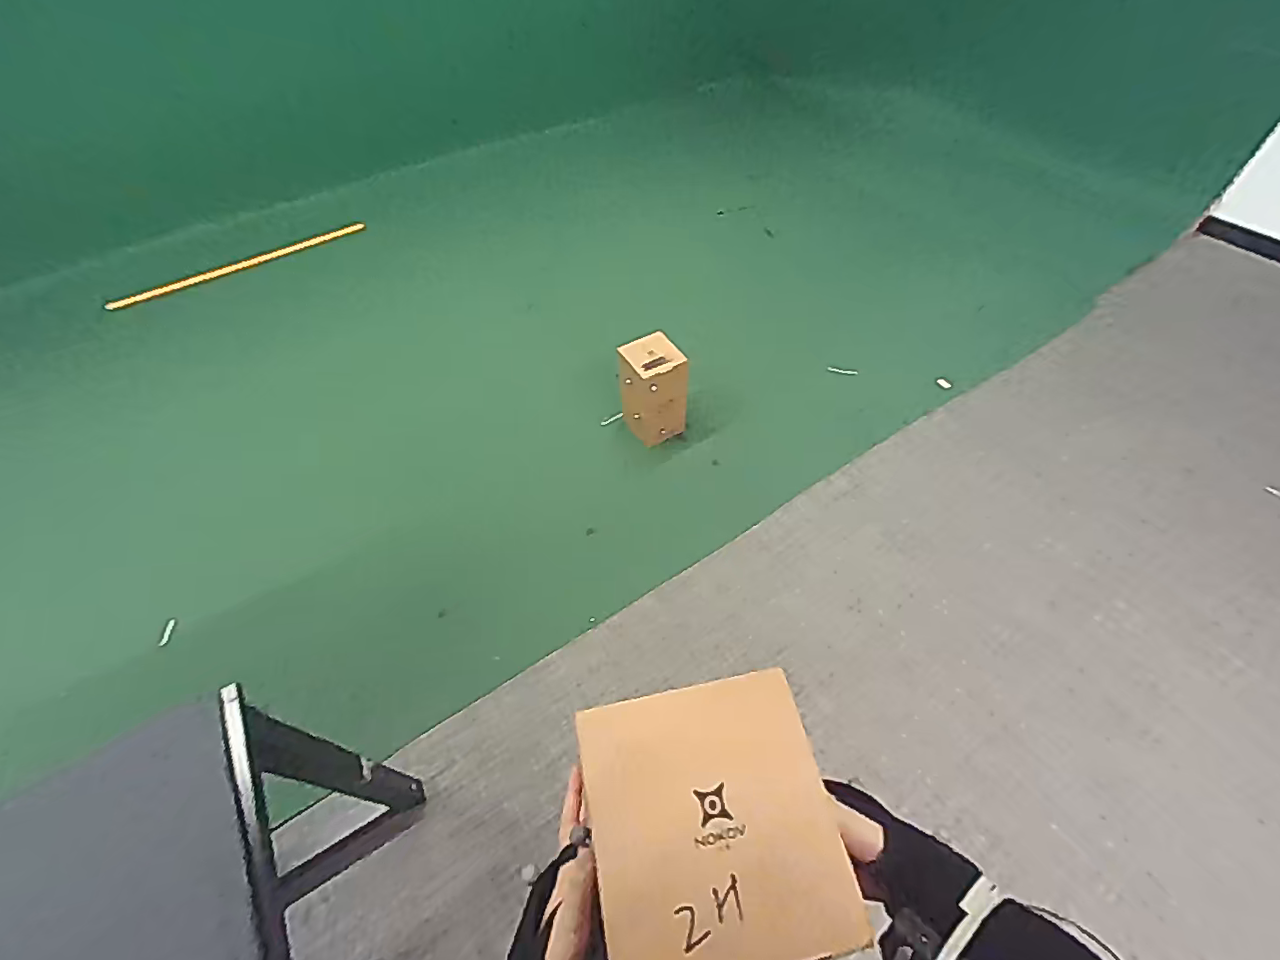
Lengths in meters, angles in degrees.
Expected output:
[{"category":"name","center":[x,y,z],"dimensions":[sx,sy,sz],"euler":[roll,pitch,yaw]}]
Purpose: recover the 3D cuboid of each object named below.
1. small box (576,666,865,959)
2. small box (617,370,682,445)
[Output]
[{"category":"small box","center":[0.040,0.272,0.437],"dimensions":[0.168,0.176,0.179],"euler":[-8,59,-10]},{"category":"small box","center":[0.032,-0.256,1.928],"dimensions":[0.168,0.176,0.179],"euler":[-26,57,-17]}]
